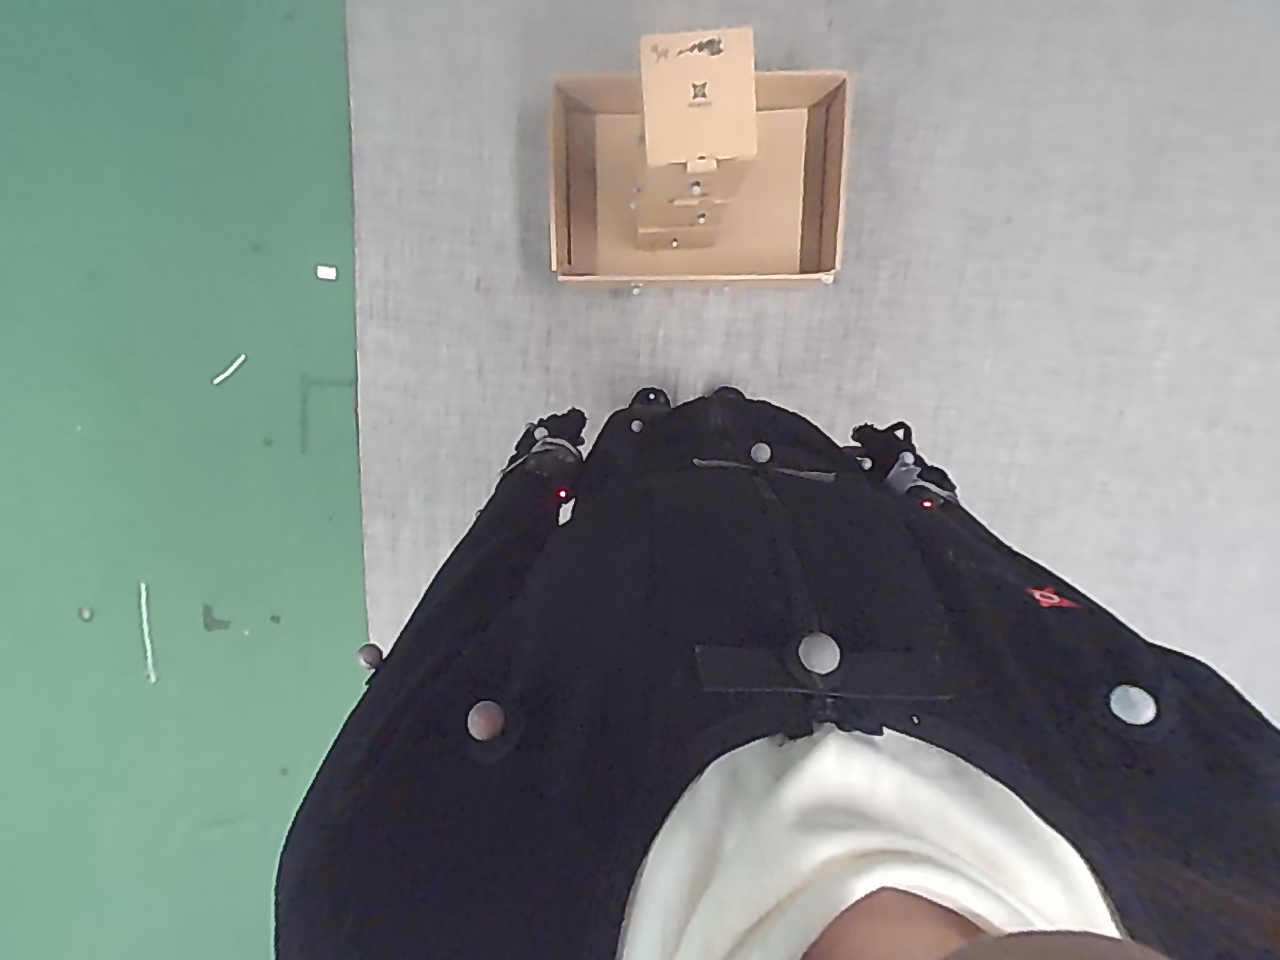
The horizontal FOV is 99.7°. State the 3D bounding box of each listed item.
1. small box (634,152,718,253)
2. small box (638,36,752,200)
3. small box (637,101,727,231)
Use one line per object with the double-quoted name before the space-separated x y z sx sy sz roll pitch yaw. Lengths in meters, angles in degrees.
"small box" 0.078 -0.607 1.193 0.179 0.176 0.168 0 100 3
"small box" 0.083 -0.565 0.872 0.168 0.176 0.179 -2 101 0
"small box" 0.078 -0.588 1.034 0.168 0.176 0.179 0 98 0
